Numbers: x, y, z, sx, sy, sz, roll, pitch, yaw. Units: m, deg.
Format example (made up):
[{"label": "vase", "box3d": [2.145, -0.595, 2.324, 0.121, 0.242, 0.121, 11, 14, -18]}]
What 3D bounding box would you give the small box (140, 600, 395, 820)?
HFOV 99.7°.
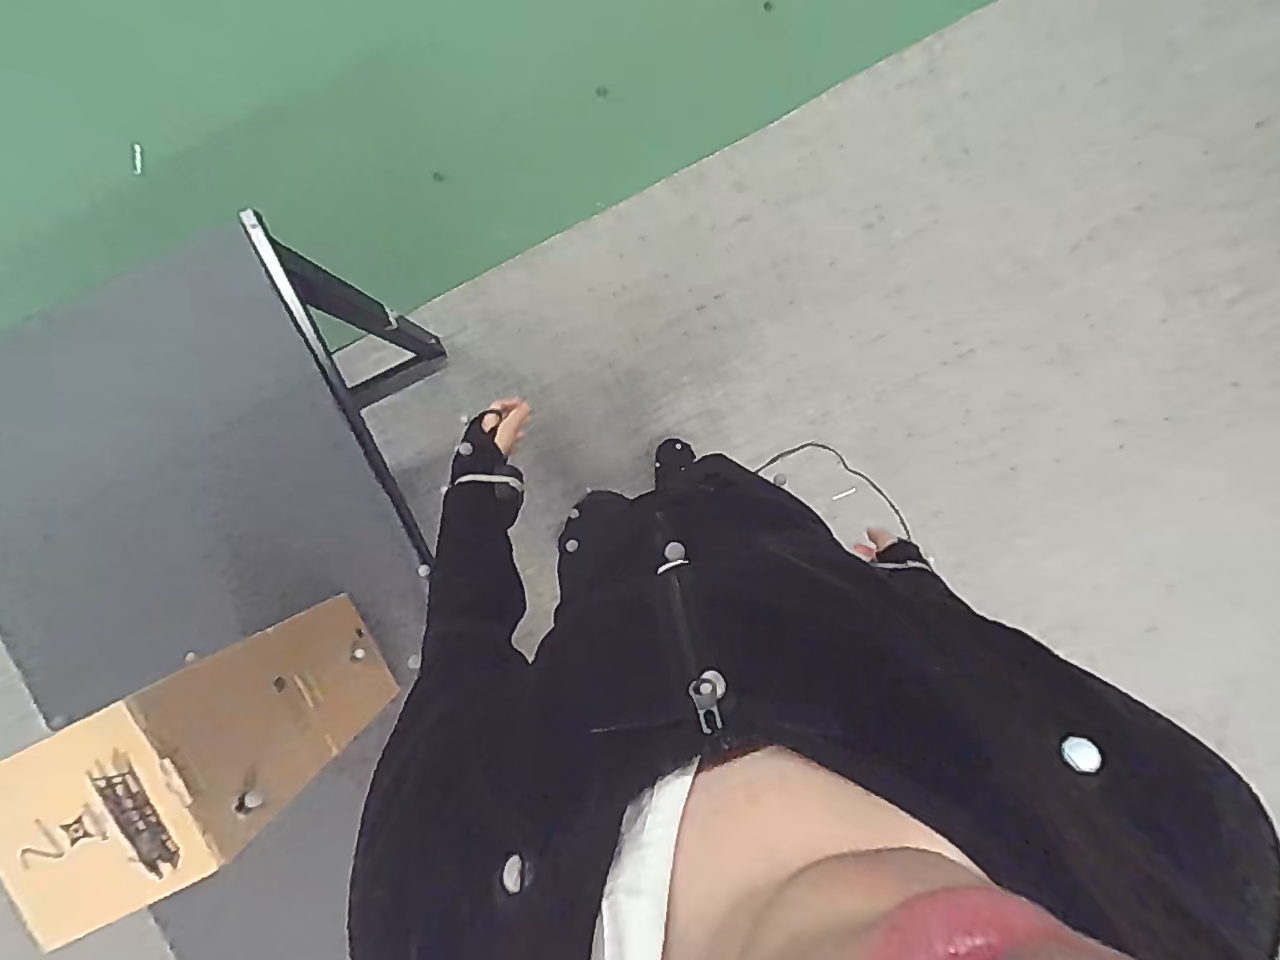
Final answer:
[{"label": "small box", "box3d": [-0.459, 0.279, 0.697, 0.179, 0.176, 0.168, -27, 93, 1]}]
